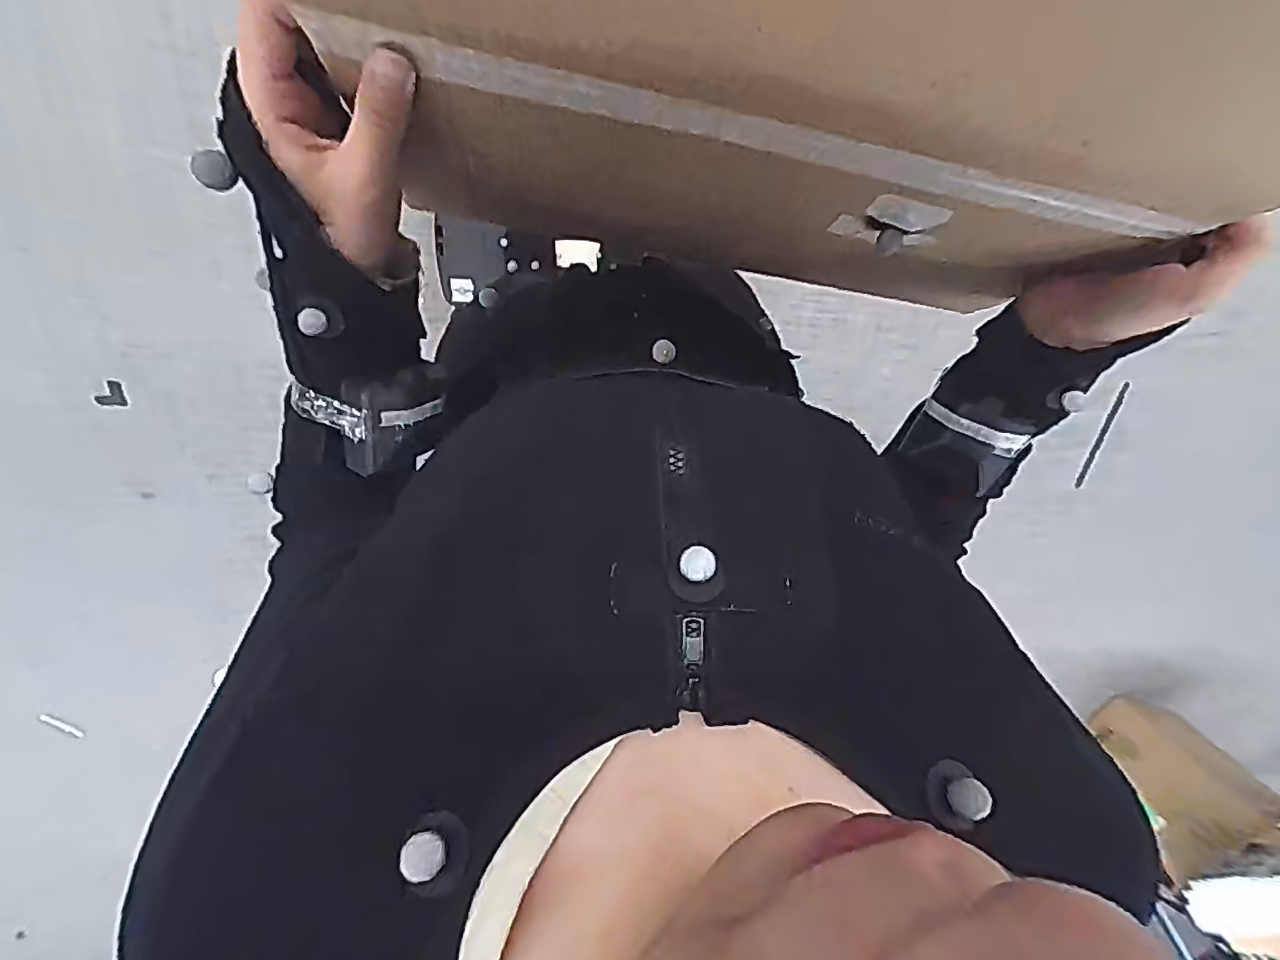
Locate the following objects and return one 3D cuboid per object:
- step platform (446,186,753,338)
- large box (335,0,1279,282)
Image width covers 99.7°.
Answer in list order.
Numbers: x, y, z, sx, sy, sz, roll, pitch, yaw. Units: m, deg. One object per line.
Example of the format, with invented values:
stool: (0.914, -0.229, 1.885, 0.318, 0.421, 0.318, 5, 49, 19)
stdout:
step platform: (-0.090, -0.533, 1.259, 0.684, 0.204, 0.286, 6, 116, -14)
large box: (0.102, -0.303, 0.198, 0.408, 0.320, 0.320, 6, 92, -9)
